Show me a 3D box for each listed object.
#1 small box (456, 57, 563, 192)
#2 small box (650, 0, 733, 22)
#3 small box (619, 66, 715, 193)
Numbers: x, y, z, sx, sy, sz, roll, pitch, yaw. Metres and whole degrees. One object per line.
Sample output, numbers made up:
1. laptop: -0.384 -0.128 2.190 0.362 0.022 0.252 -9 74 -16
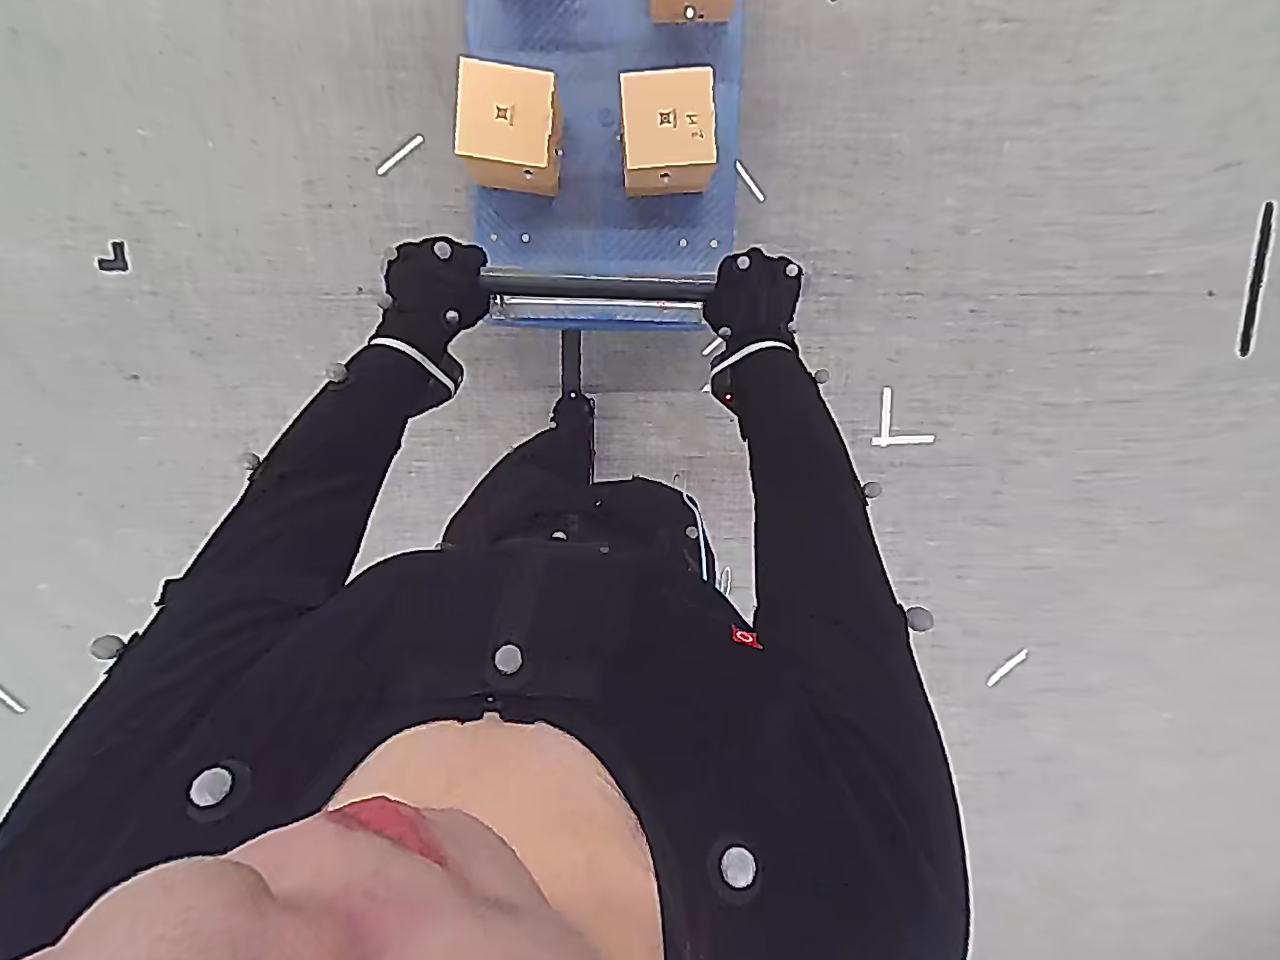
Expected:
1. small box: -0.255 -0.699 1.085 0.179 0.176 0.168 6 101 -5
2. small box: 0.104 -1.026 1.031 0.168 0.176 0.179 -2 103 -2
3. small box: 0.052 -0.698 1.096 0.179 0.176 0.168 -5 102 -1
